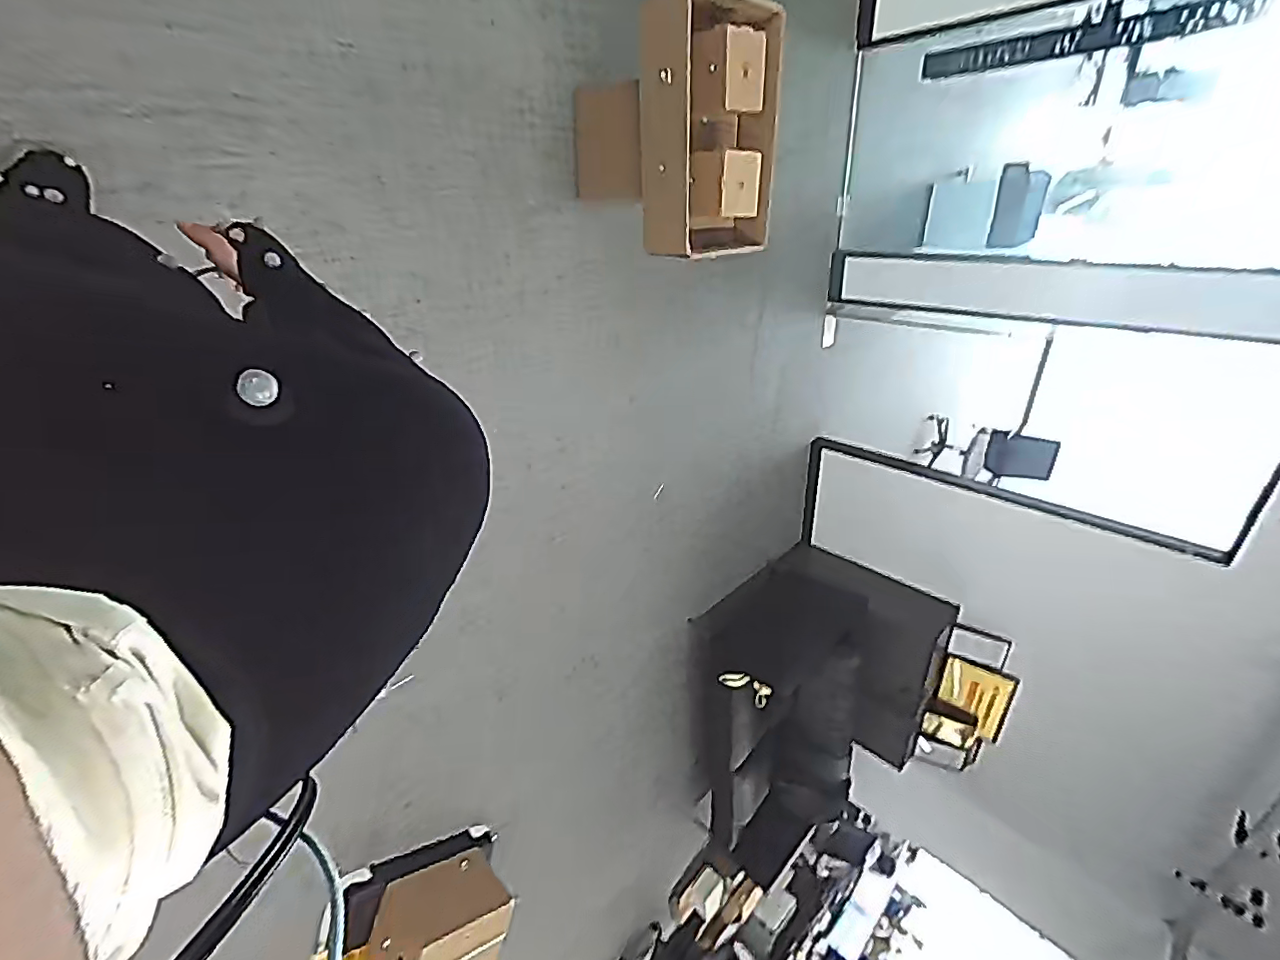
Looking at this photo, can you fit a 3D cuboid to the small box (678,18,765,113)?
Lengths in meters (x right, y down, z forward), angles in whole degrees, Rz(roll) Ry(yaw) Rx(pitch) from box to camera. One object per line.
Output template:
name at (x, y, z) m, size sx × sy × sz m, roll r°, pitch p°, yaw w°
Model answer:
small box at (0.217, -1.110, 1.461) m, size 0.168 × 0.176 × 0.179 m, roll -26°, pitch 128°, yaw -37°

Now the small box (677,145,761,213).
small box at (0.231, -0.880, 1.589) m, size 0.179 × 0.176 × 0.168 m, roll -24°, pitch 126°, yaw -37°
